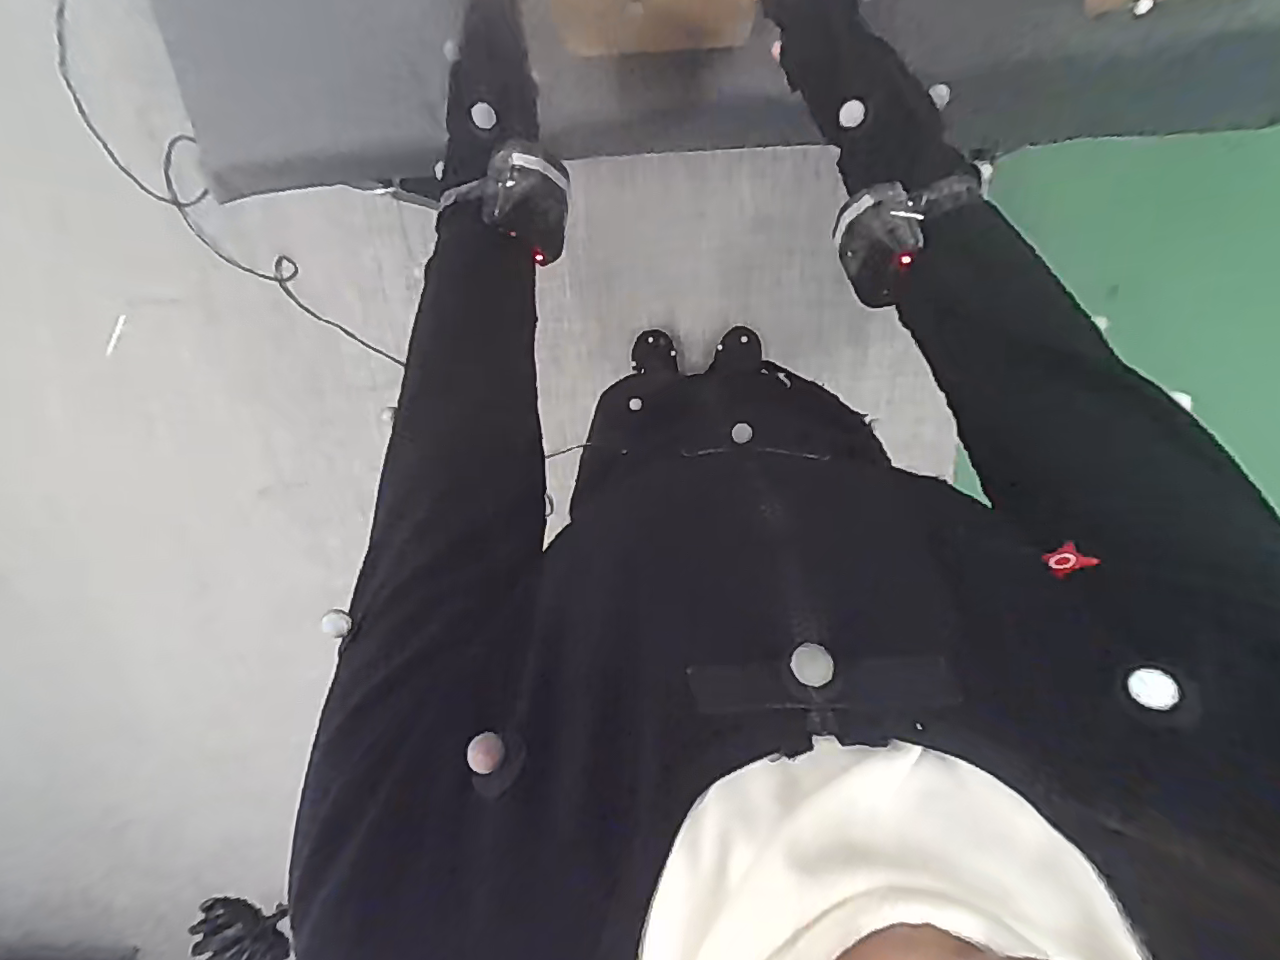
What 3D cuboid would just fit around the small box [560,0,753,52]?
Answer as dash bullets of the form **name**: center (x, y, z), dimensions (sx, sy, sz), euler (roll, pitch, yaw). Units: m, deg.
- **small box**: center (0.013, -0.488, 0.448), dimensions (0.179, 0.176, 0.168), euler (1, 108, 6)
